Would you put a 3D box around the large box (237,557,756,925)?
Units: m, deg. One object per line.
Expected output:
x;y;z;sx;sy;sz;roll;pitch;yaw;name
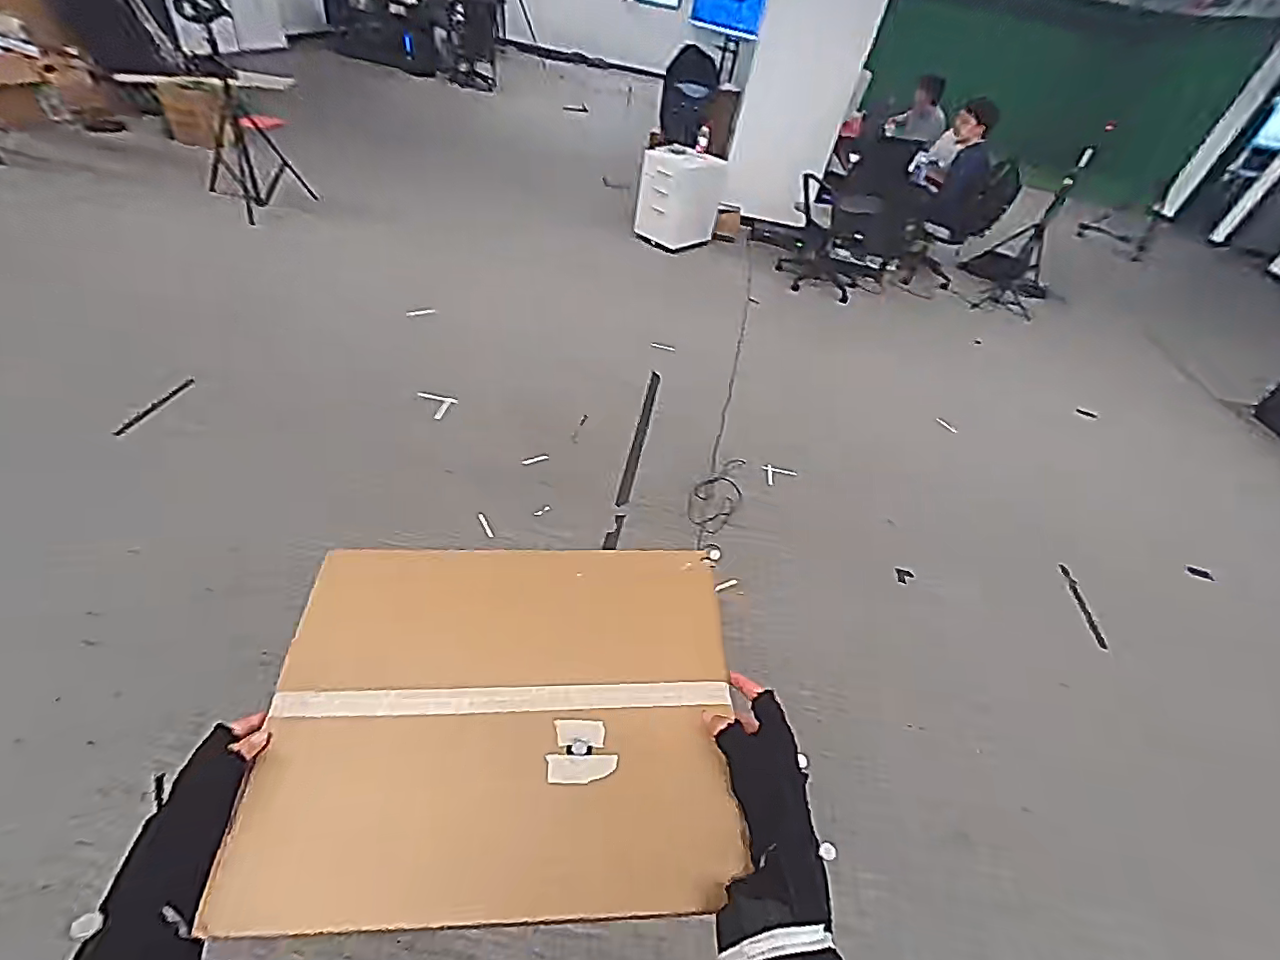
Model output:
-0.121;0.300;0.622;0.408;0.320;0.320;1;52;-4;large box
